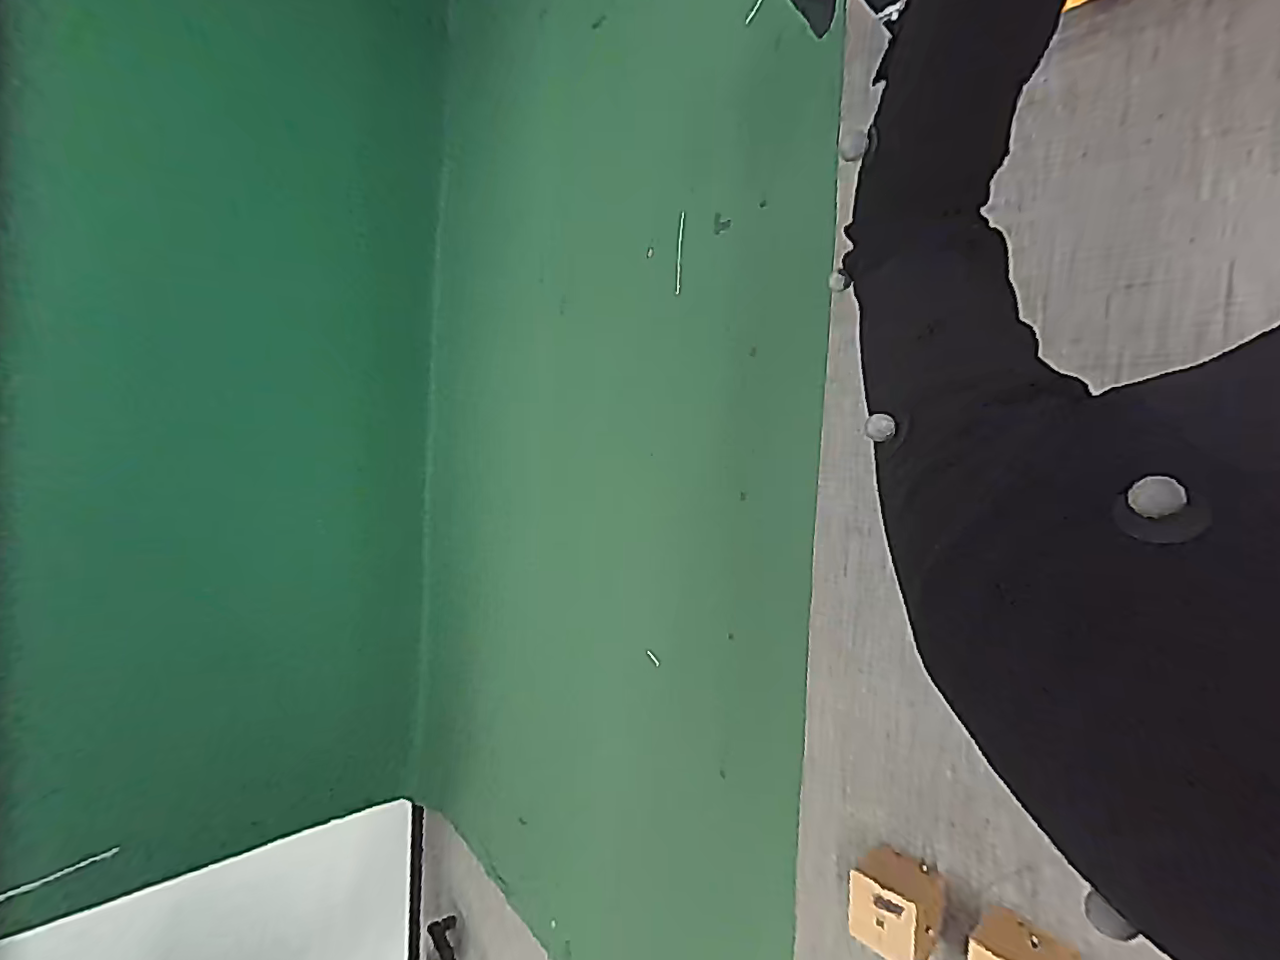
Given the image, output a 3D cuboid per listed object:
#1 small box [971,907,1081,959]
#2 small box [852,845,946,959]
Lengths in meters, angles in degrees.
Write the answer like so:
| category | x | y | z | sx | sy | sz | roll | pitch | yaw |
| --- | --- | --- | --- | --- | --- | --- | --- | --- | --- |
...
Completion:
| category | x | y | z | sx | sy | sz | roll | pitch | yaw |
| --- | --- | --- | --- | --- | --- | --- | --- | --- | --- |
| small box | 0.839 | 1.099 | 1.178 | 0.168 | 0.176 | 0.179 | 7 | 94 | 49 |
| small box | 0.662 | 1.084 | 1.380 | 0.168 | 0.176 | 0.179 | 2 | 91 | 49 |
